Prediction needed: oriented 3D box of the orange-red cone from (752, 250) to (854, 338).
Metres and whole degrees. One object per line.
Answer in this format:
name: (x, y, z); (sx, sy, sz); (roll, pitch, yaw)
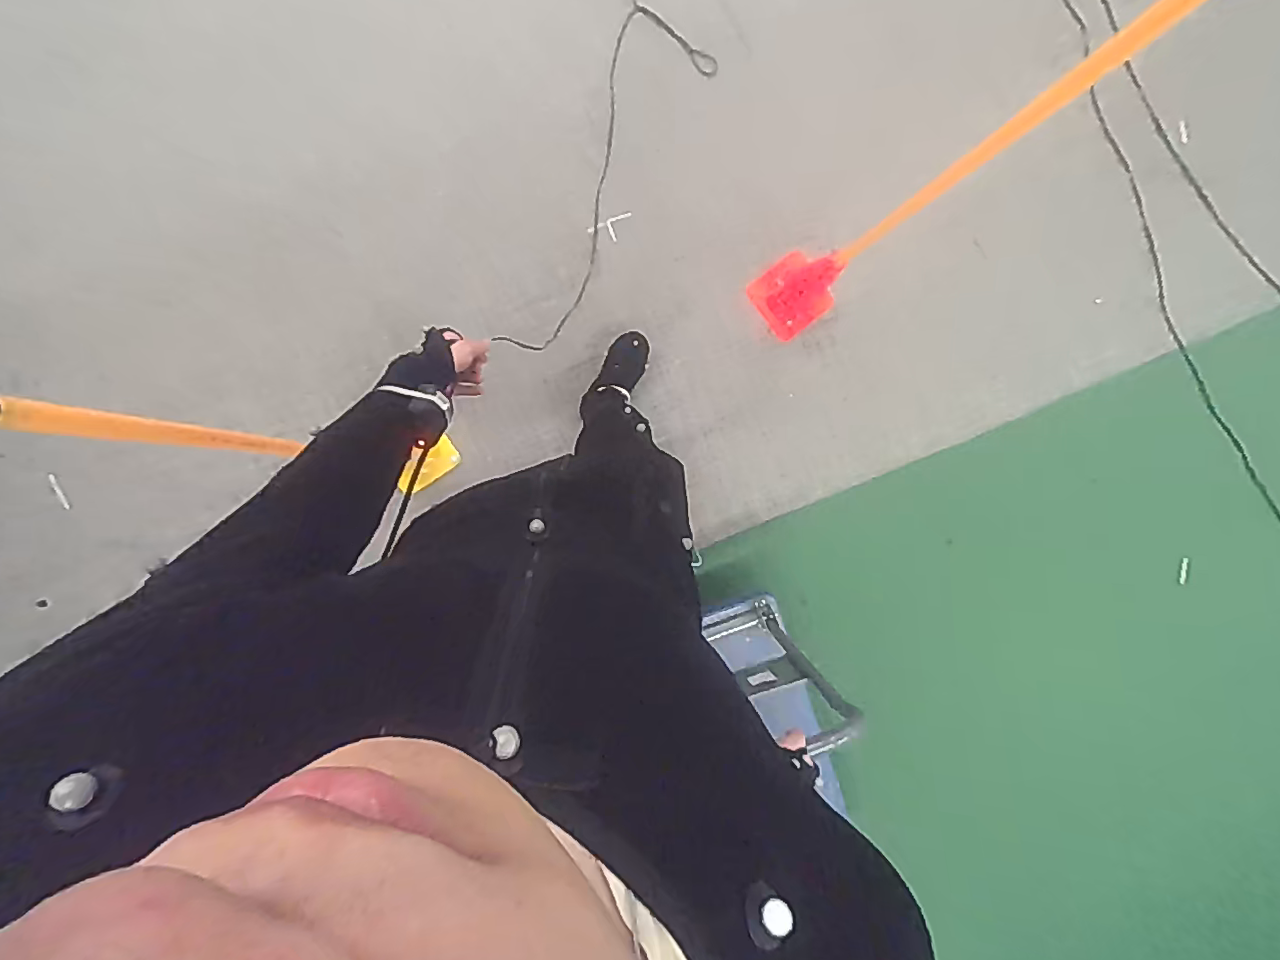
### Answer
orange-red cone: (0.461, -0.526, 1.409); (0.199, 0.360, 0.198); (-37, 97, 0)
